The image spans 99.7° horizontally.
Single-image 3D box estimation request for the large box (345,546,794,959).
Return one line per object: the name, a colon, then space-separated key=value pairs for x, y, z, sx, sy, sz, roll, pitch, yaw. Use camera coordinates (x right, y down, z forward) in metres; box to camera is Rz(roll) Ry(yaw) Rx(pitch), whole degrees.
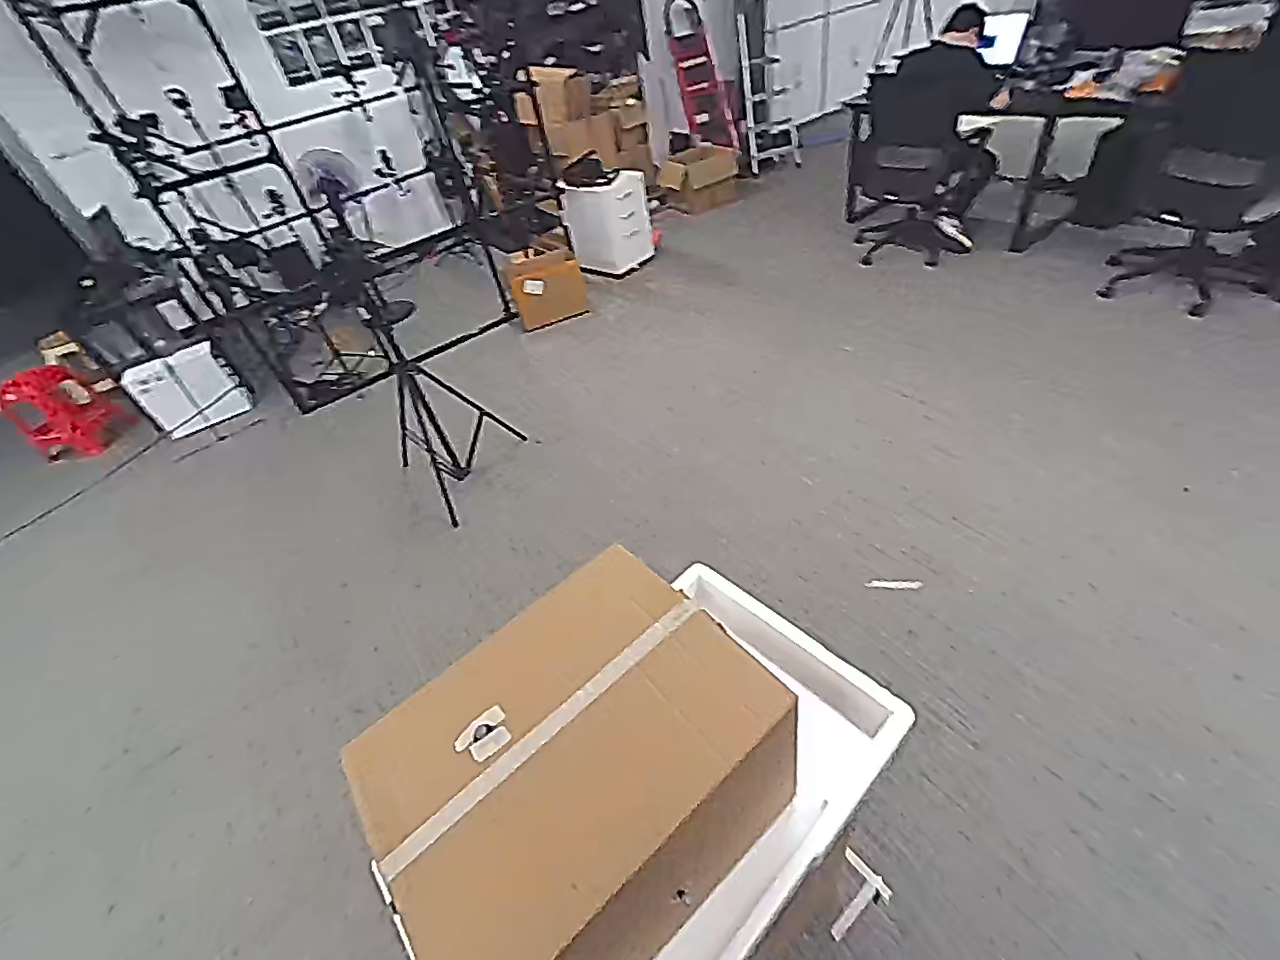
large box: x=-0.053 y=0.368 z=0.672 sx=0.408 sy=0.320 sz=0.320 roll=-37 pitch=46 yaw=-22
